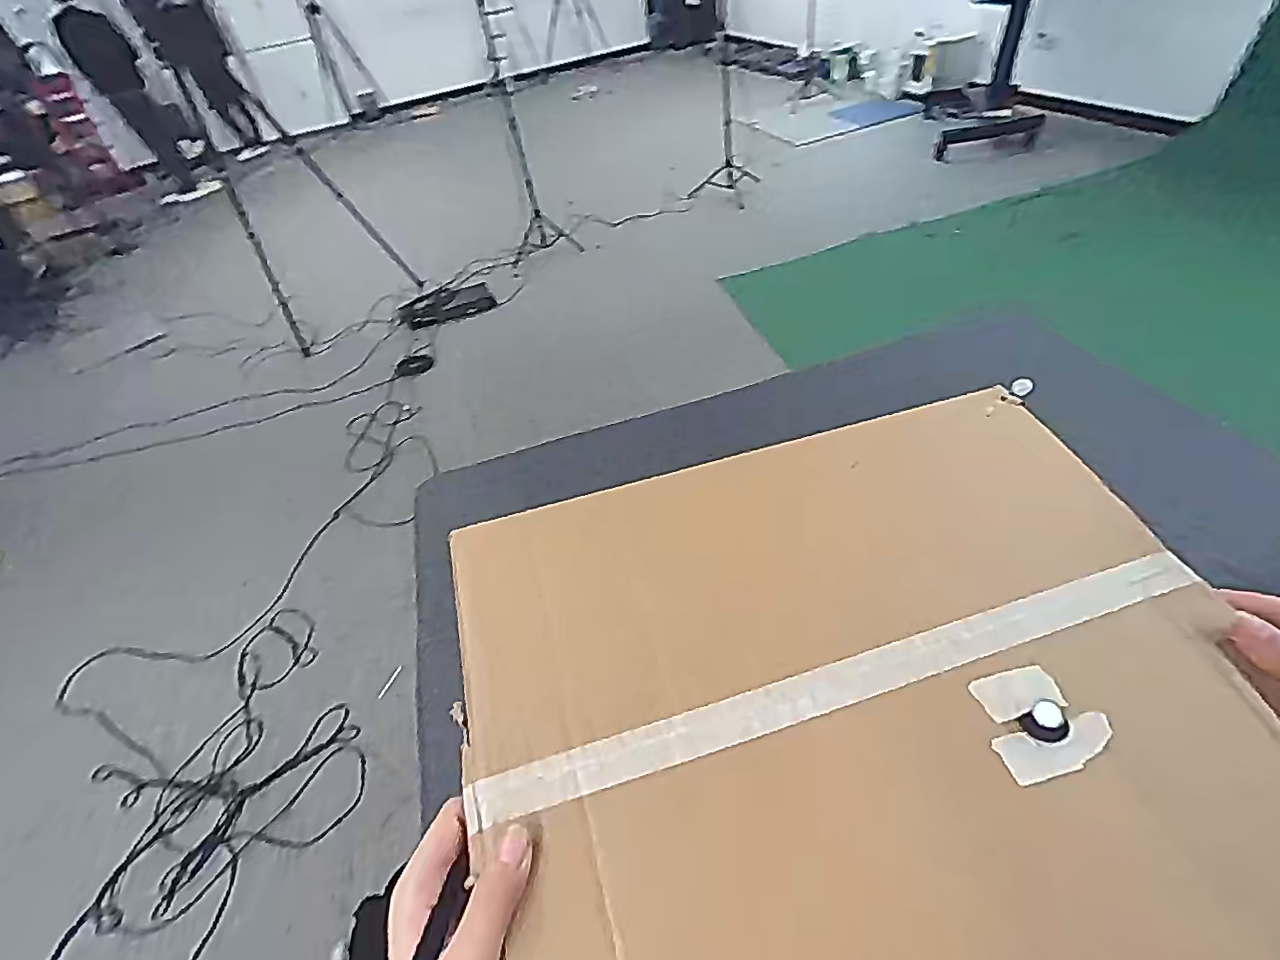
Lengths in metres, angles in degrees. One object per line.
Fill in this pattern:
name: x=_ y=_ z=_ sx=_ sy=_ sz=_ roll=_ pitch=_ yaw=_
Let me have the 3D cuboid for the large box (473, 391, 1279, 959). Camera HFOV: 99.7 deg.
large box: x=0.125 y=0.186 z=0.419 sx=0.408 sy=0.320 sz=0.320 roll=-14 pitch=56 yaw=-9
